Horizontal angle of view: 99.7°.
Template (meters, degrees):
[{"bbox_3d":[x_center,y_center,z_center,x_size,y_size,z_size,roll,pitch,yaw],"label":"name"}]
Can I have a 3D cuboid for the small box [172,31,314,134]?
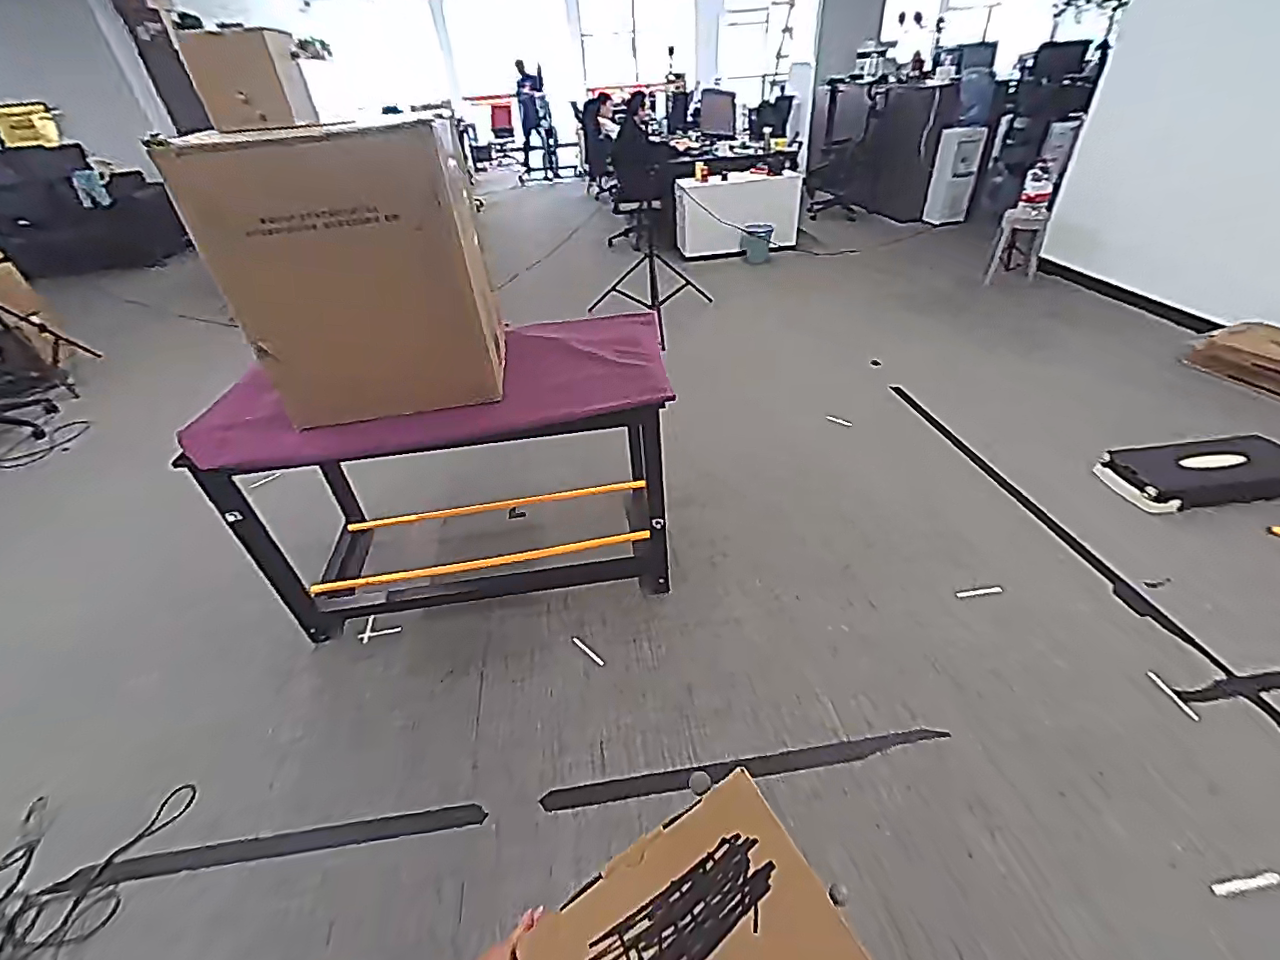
[{"bbox_3d":[-0.842,-0.857,1.173,0.168,0.176,0.179,-9,37,-6],"label":"small box"}]
